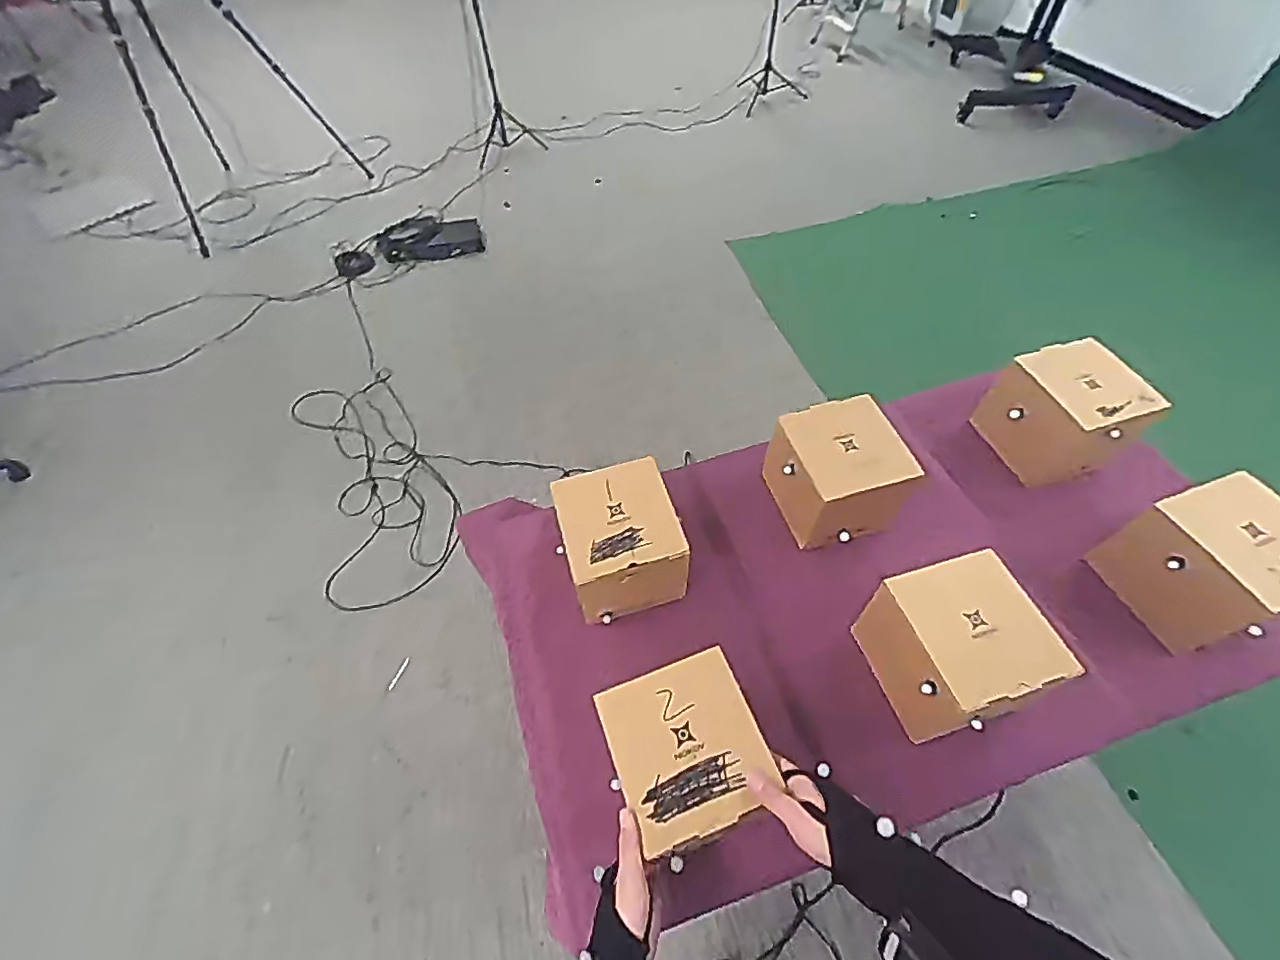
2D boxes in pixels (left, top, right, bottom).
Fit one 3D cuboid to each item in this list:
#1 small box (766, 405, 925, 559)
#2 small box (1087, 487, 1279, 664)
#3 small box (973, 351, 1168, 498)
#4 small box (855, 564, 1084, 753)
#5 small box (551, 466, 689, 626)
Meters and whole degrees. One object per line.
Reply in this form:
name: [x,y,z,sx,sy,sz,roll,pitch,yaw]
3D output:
small box: [0.326,0.007,0.905,0.168,0.176,0.179,-13,57,-7]
small box: [0.827,0.143,0.793,0.168,0.176,0.179,-17,57,-9]
small box: [0.746,-0.096,0.964,0.168,0.176,0.179,-15,56,-8]
small box: [0.424,0.245,0.736,0.168,0.176,0.179,-14,55,-9]
small box: [-0.030,0.110,0.836,0.168,0.176,0.179,-14,57,-9]
